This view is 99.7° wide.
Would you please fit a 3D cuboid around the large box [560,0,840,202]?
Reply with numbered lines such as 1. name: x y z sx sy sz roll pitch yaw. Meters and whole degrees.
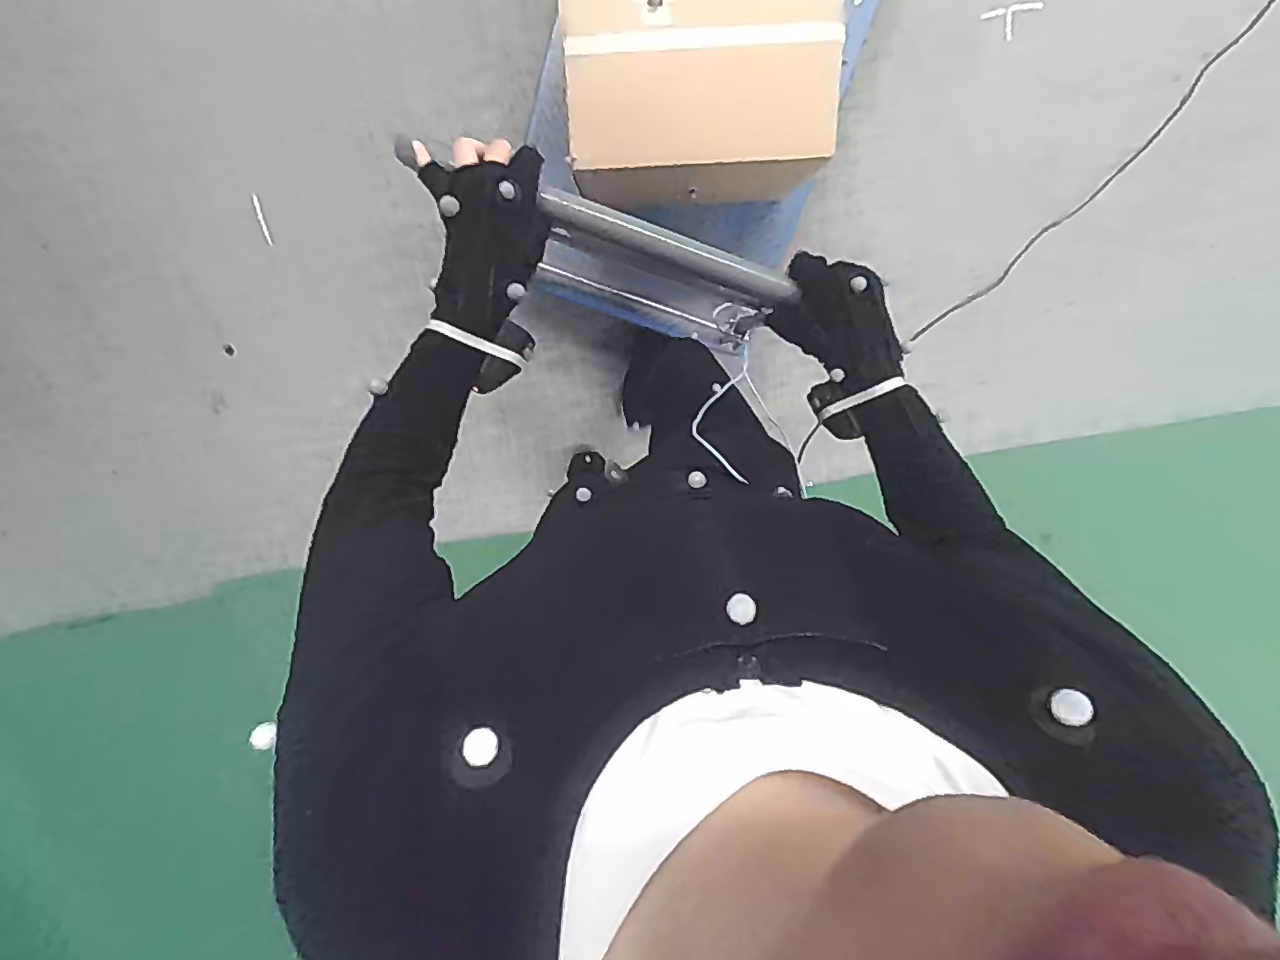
1. large box: 0.090 -0.679 0.920 0.408 0.320 0.320 -2 106 1
